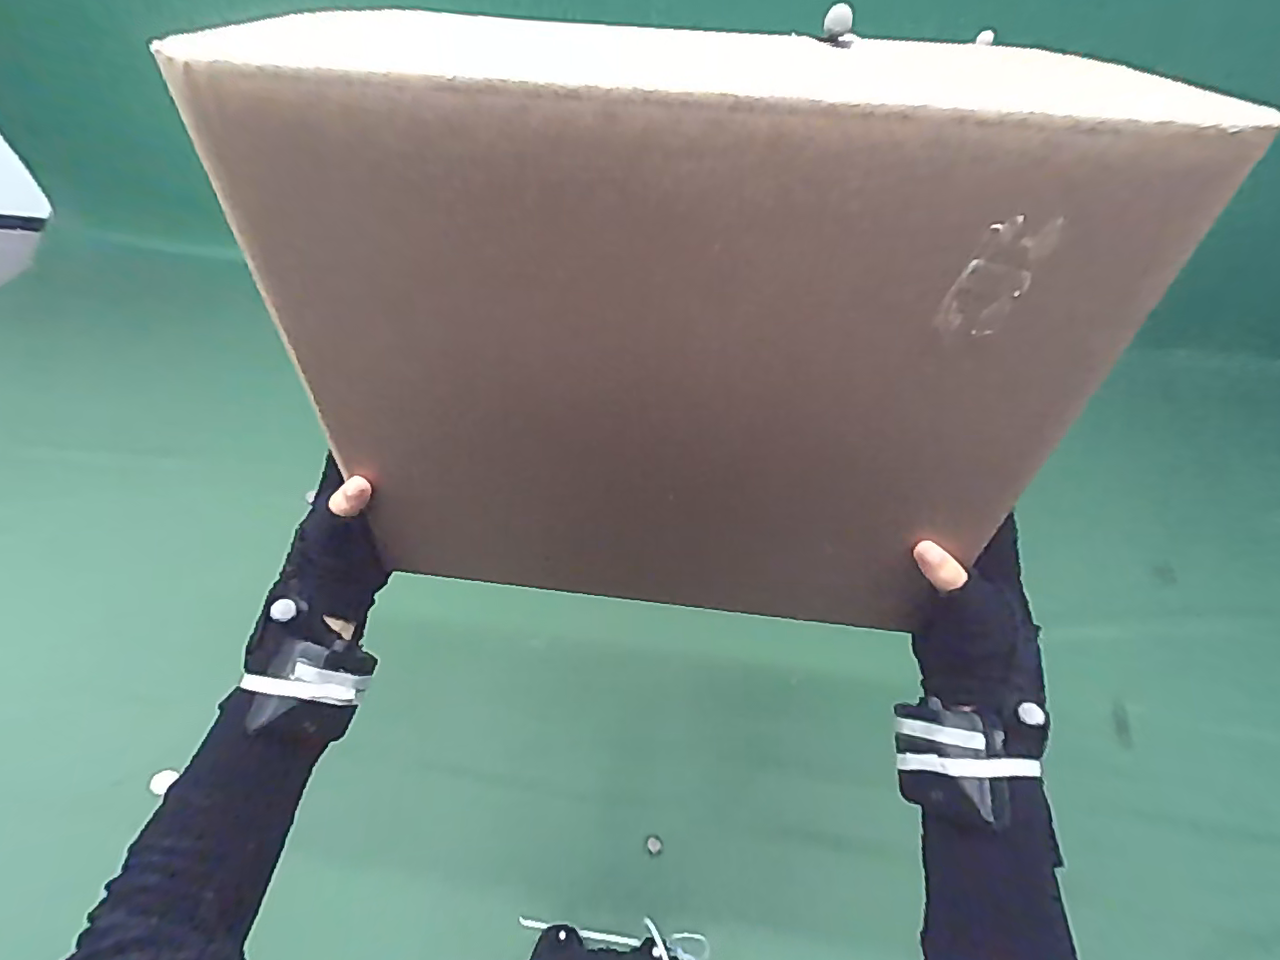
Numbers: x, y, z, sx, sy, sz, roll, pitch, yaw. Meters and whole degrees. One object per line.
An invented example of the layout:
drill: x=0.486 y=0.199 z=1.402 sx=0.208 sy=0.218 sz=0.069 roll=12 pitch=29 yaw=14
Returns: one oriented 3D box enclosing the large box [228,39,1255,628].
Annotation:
large box: x=0.037 y=-0.119 z=0.413 sx=0.408 sy=0.320 sz=0.320 roll=7 pitch=42 yaw=2
